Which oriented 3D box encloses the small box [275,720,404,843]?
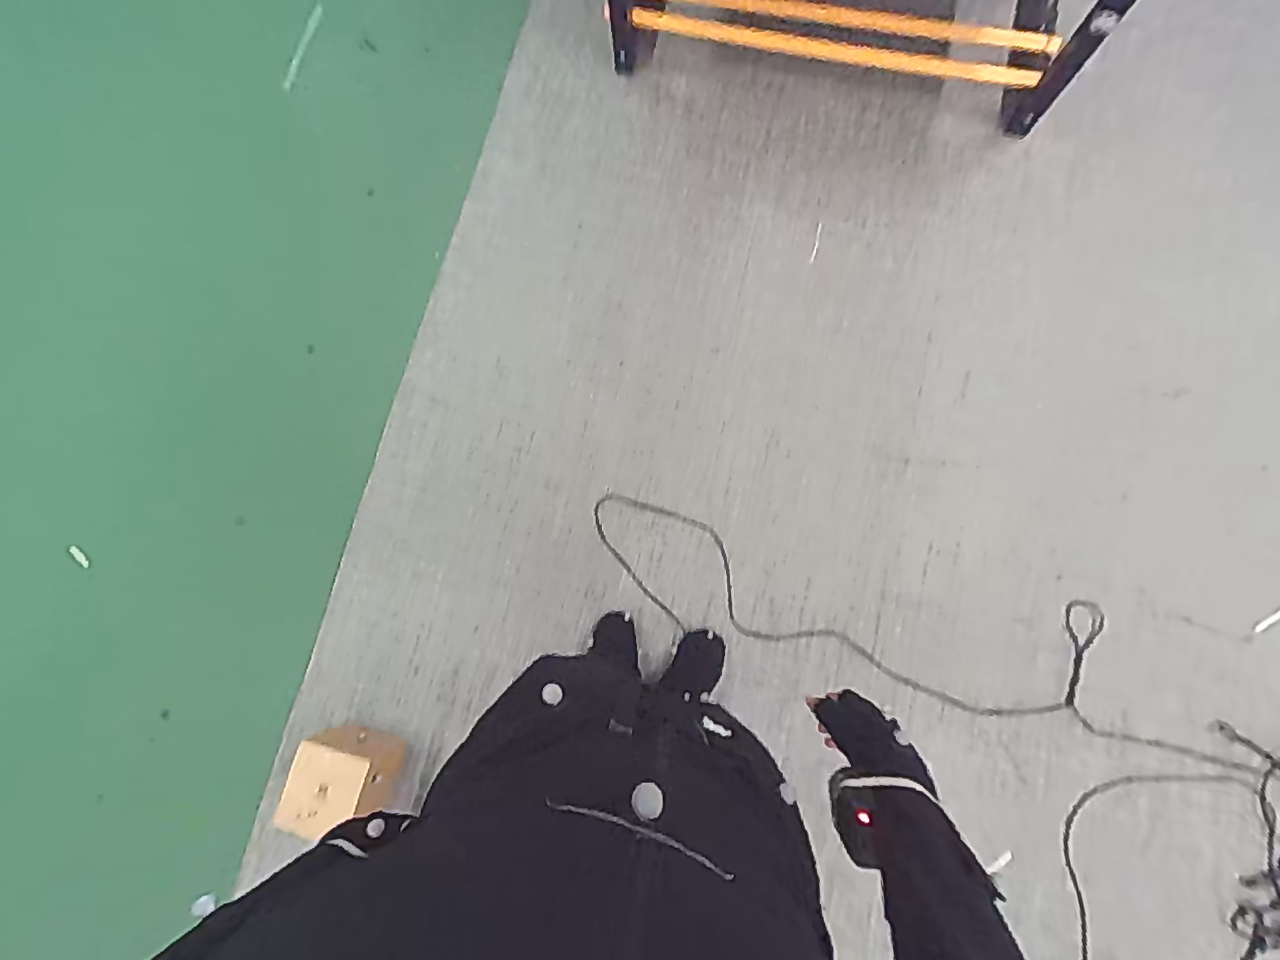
[{"bbox_3d":[-0.660,0.663,1.214,0.168,0.176,0.179,14,81,6],"label":"small box"}]
